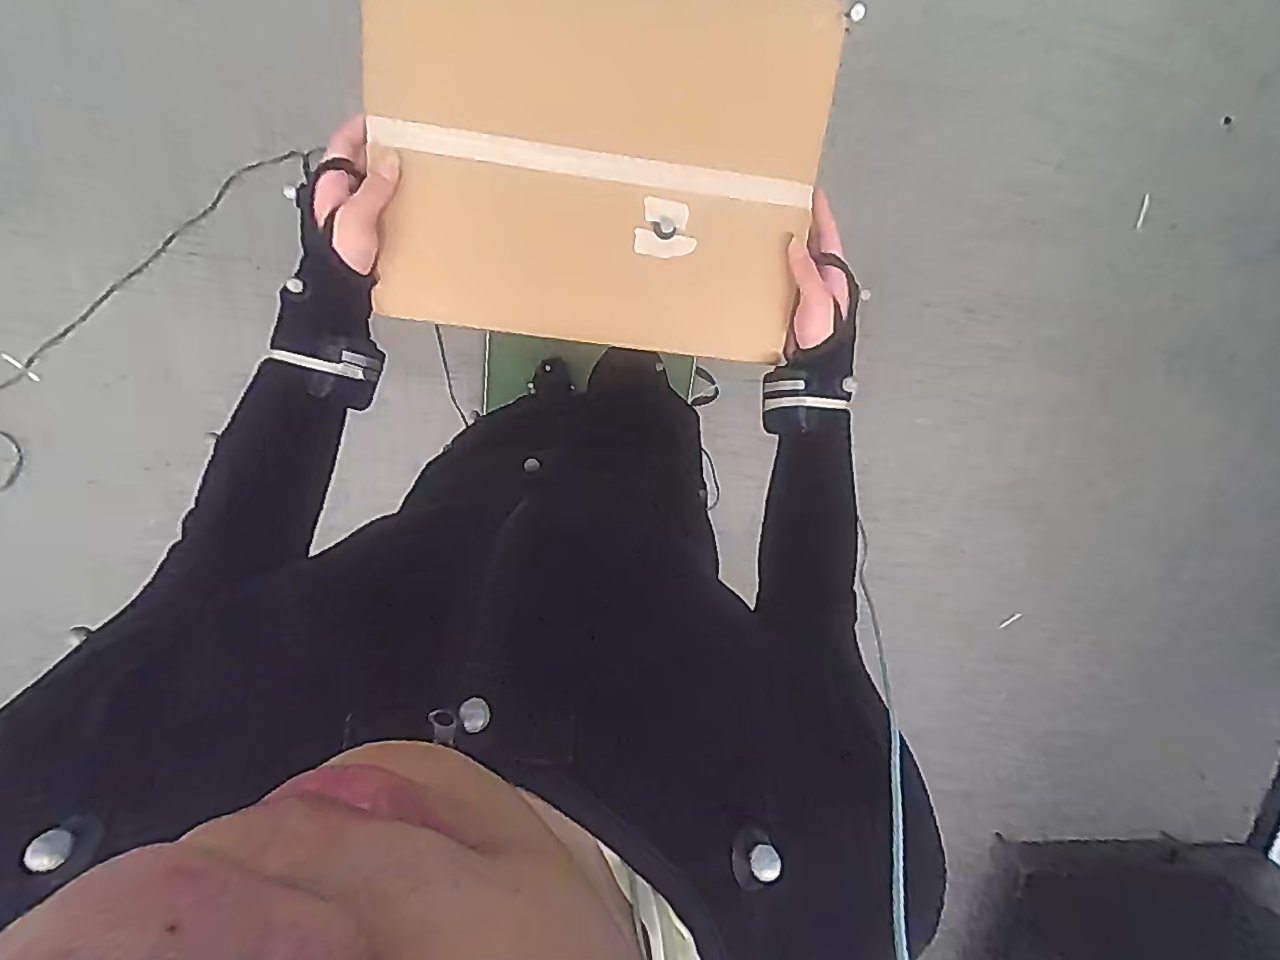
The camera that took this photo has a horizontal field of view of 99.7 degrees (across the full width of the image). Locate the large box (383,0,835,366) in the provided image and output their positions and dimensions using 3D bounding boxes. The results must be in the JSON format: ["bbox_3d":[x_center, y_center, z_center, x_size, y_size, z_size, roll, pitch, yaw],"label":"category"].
[{"bbox_3d":[-0.047,-0.324,0.652,0.408,0.320,0.320,5,107,-6],"label":"large box"}]
